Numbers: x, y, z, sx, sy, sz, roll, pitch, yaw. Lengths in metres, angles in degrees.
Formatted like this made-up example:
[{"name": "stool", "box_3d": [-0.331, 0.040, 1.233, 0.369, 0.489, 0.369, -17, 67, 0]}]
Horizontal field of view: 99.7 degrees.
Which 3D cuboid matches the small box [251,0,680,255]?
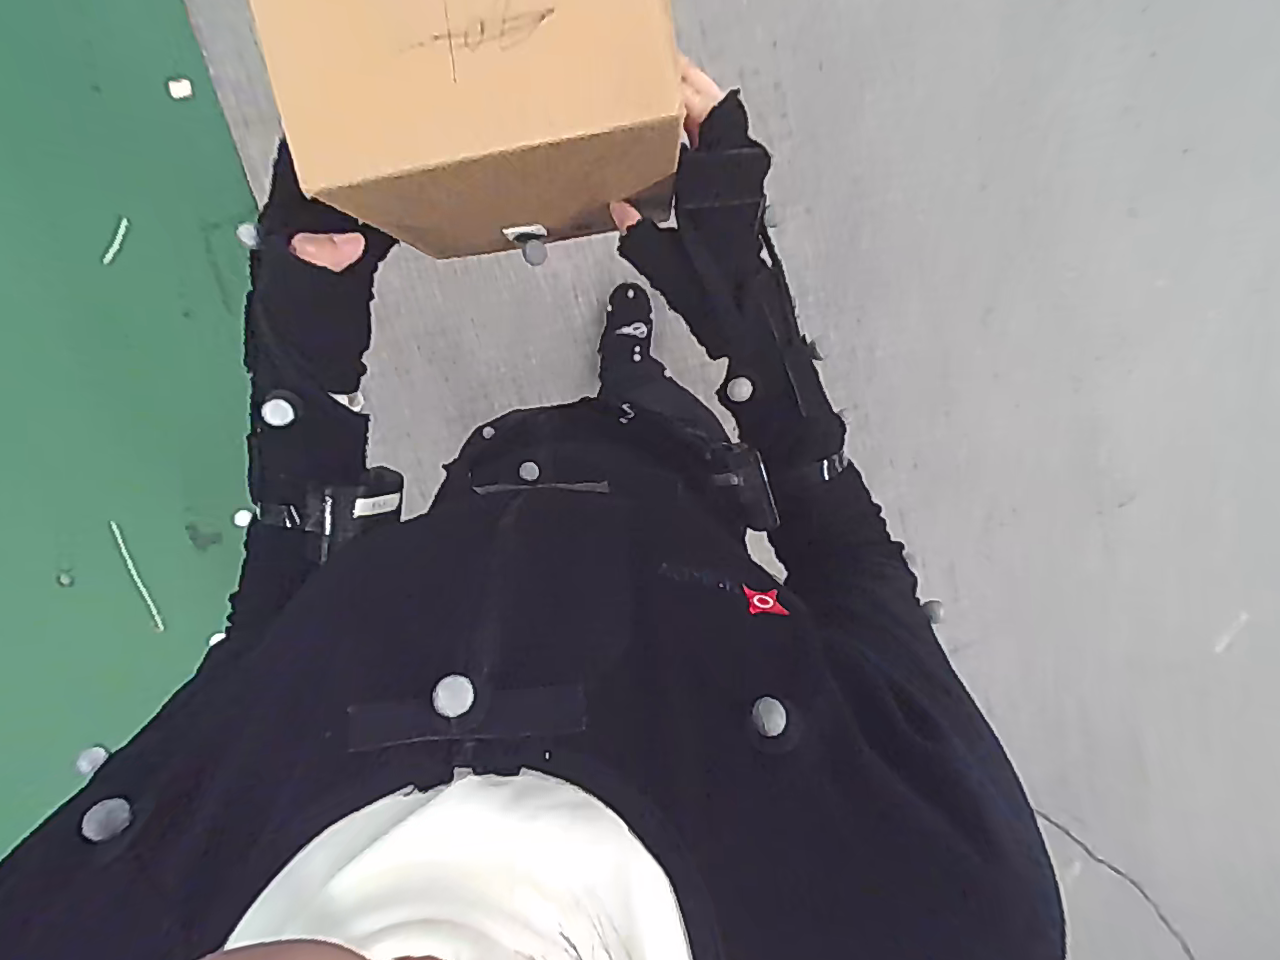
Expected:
[{"name": "small box", "box_3d": [-0.075, -0.238, 0.287, 0.168, 0.176, 0.179, -9, 102, 4]}]
